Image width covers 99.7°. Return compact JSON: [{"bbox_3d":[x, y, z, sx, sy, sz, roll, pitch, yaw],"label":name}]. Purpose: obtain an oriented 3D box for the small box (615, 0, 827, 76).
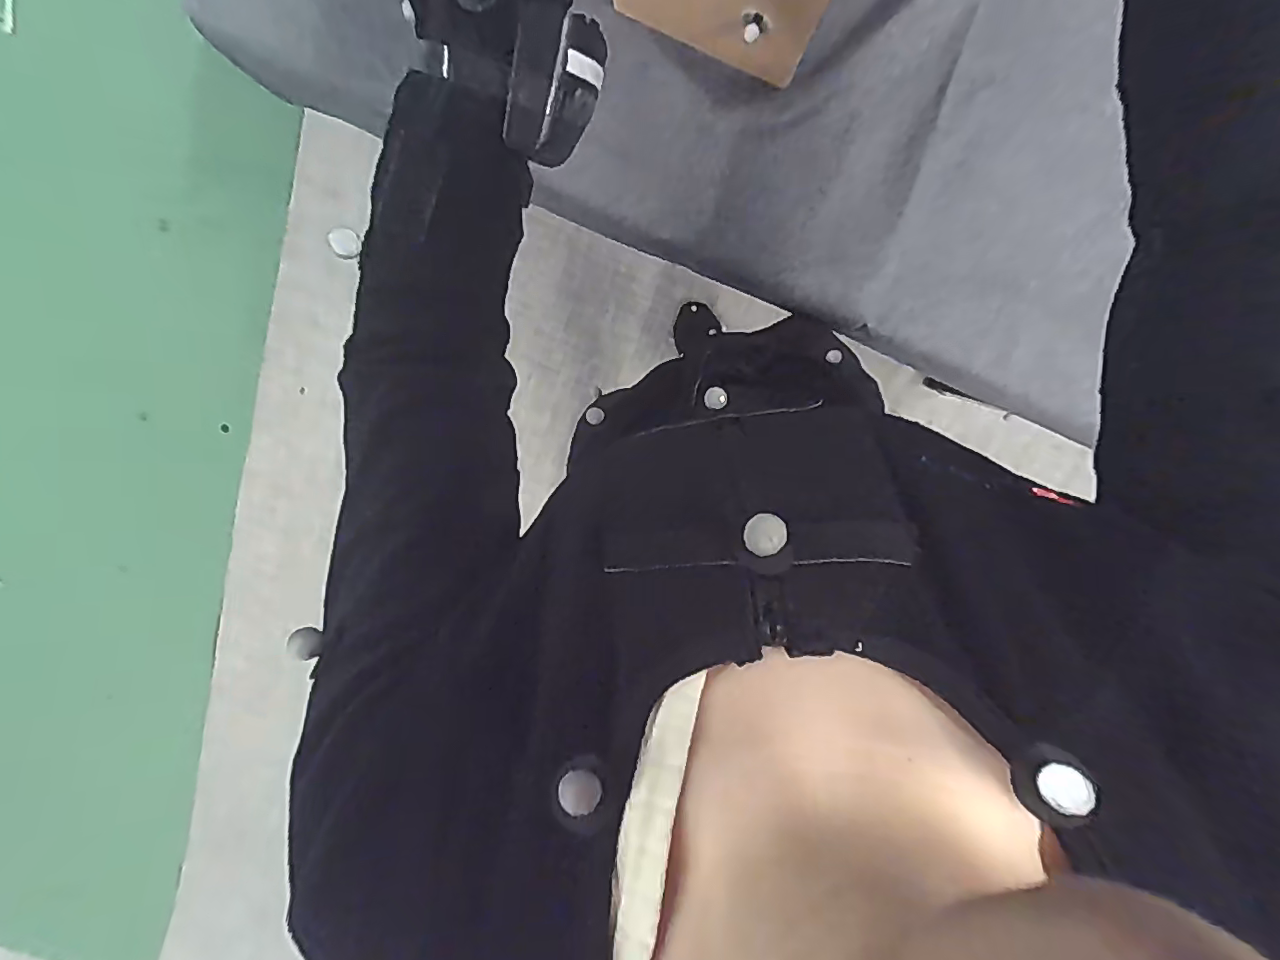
[{"bbox_3d":[0.080,-0.443,0.398,0.179,0.176,0.168,22,105,-3],"label":"small box"}]
